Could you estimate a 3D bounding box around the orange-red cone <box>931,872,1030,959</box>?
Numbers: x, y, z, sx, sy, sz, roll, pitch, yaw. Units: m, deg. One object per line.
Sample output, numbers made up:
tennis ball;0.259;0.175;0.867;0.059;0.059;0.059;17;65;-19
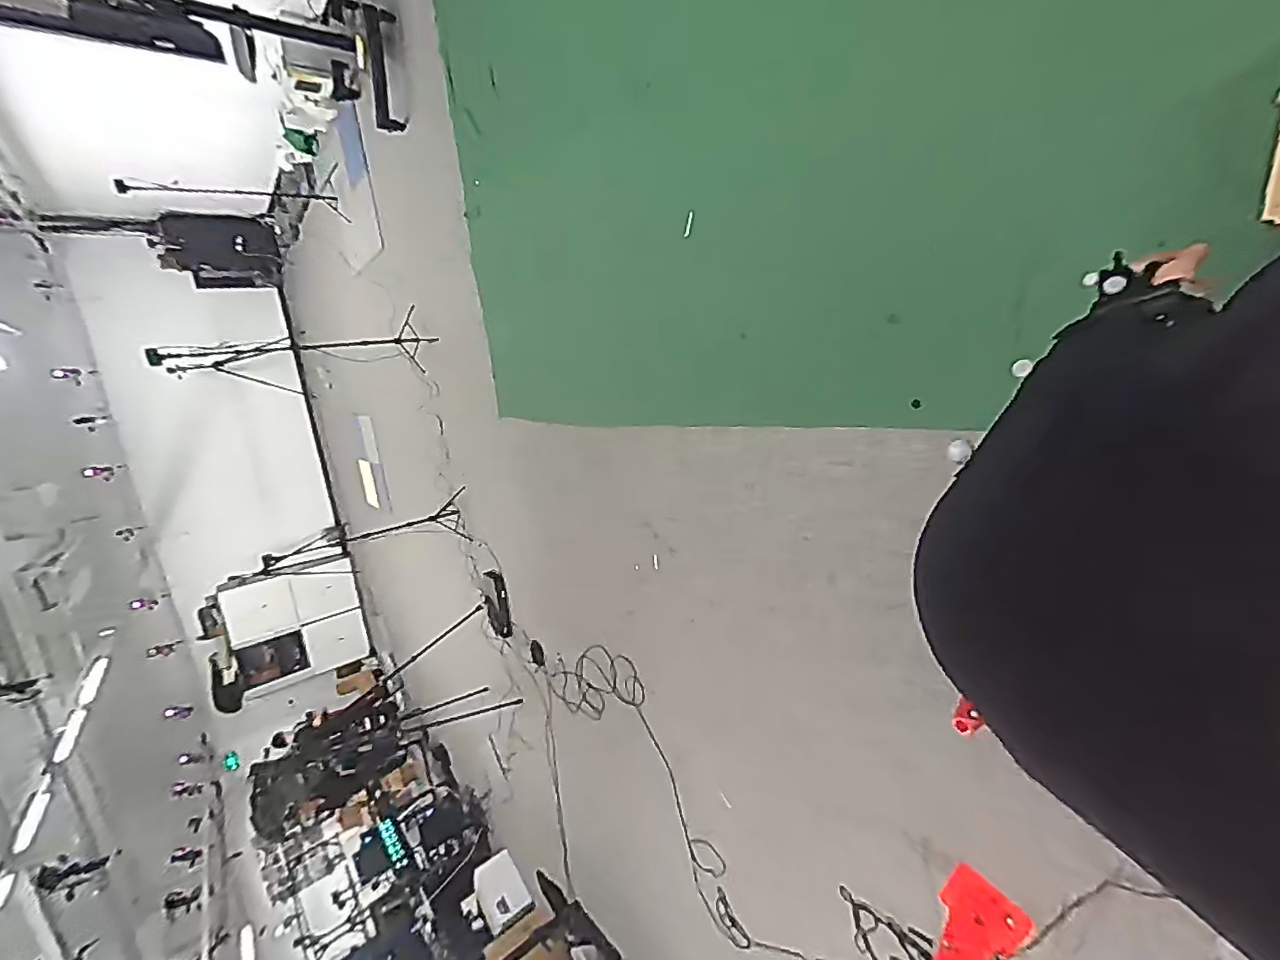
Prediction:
orange-red cone;0.814;1.260;1.411;0.199;0.360;0.198;36;128;43
